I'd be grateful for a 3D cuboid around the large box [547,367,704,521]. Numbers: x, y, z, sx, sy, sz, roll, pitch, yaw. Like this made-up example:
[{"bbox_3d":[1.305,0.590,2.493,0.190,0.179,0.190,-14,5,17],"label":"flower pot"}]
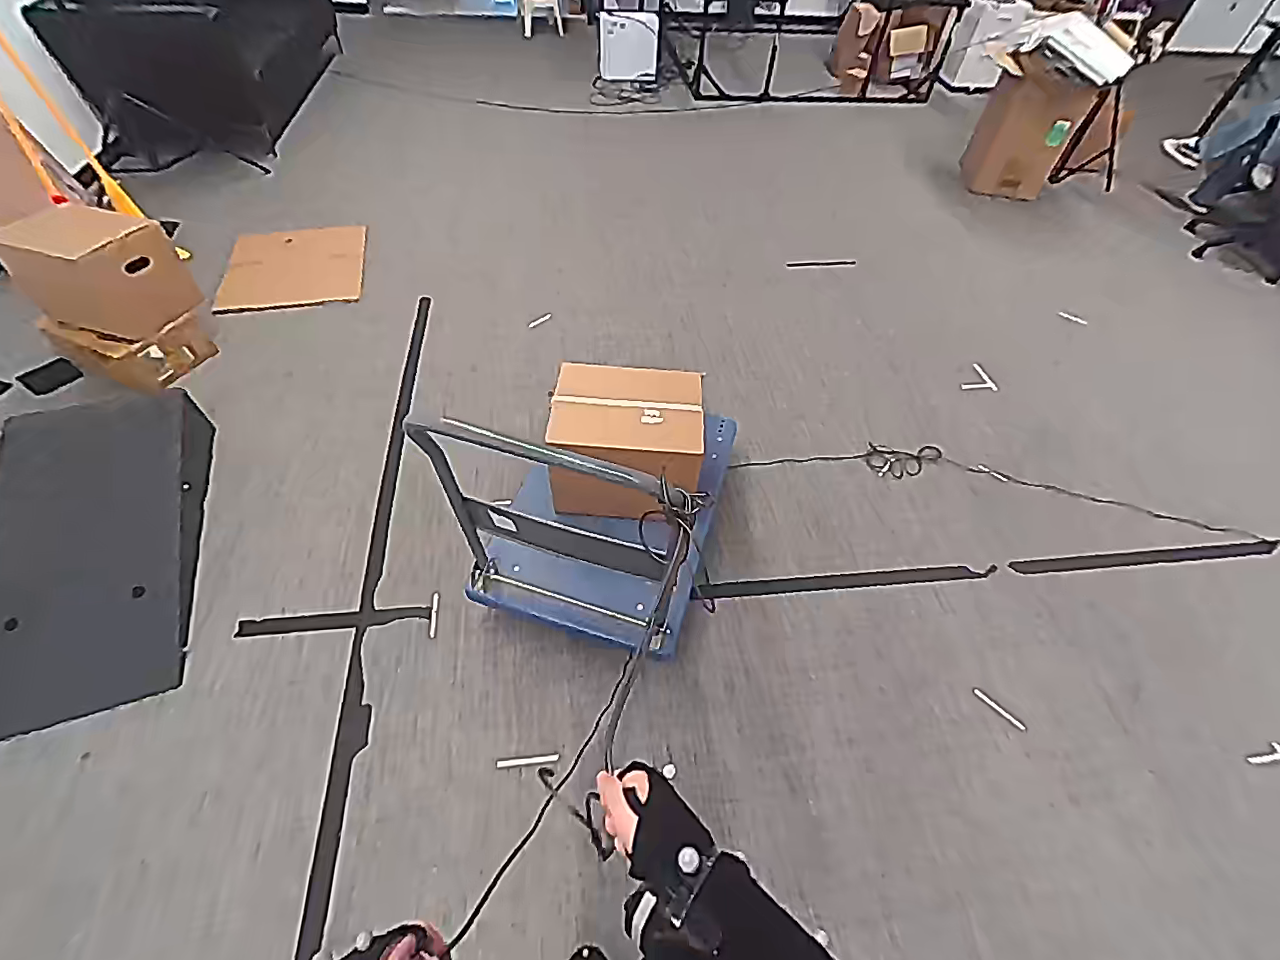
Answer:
[{"bbox_3d":[-0.040,-0.098,1.562,0.408,0.320,0.320,5,52,-1],"label":"large box"}]
